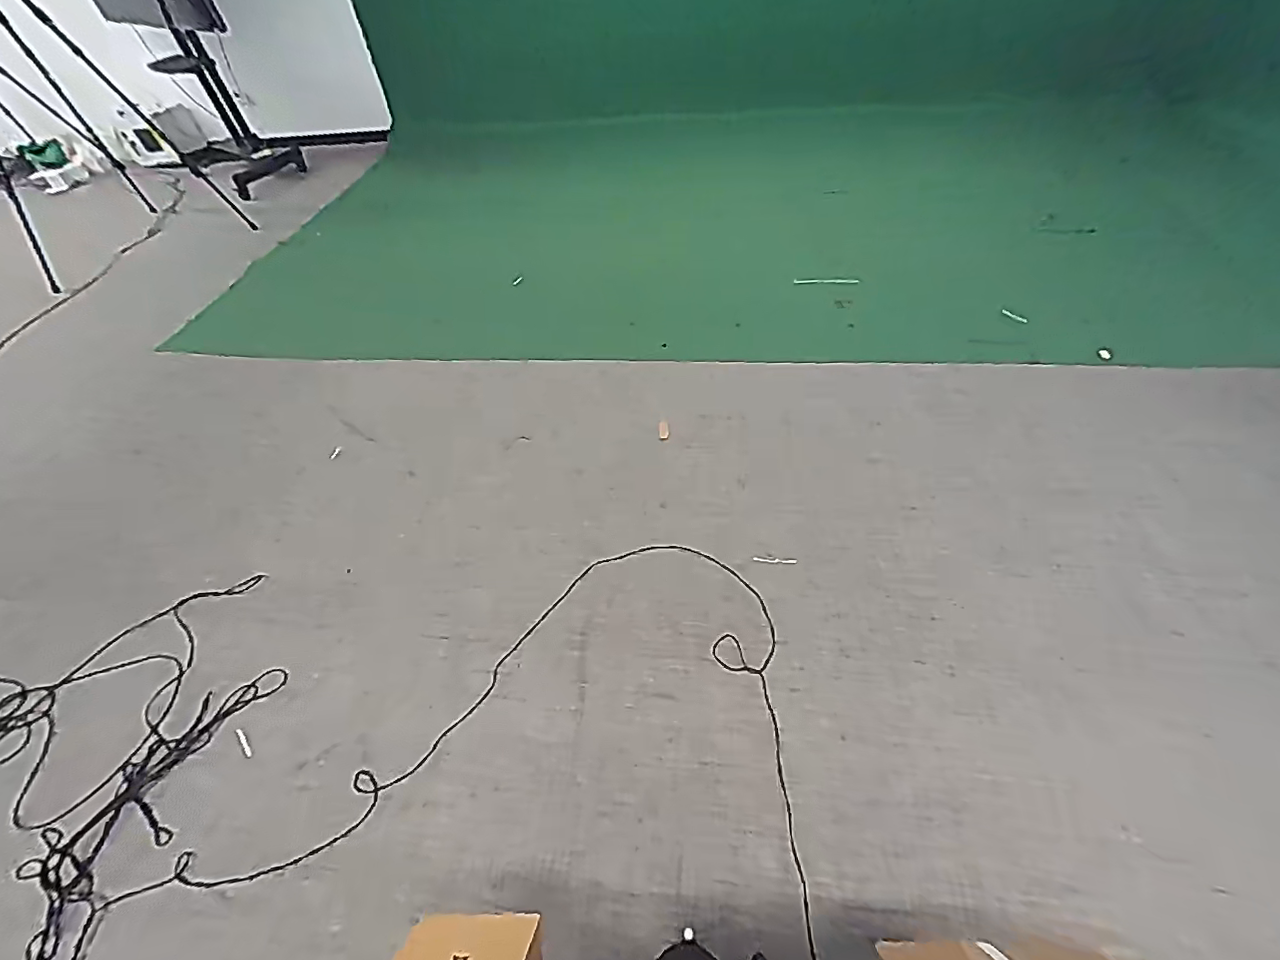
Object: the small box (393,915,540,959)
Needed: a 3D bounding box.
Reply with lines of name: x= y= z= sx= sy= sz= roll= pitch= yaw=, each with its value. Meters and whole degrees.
small box: x=-0.219 y=0.666 z=0.641 sx=0.168 sy=0.179 sz=0.176 roll=-3 pitch=84 yaw=3
